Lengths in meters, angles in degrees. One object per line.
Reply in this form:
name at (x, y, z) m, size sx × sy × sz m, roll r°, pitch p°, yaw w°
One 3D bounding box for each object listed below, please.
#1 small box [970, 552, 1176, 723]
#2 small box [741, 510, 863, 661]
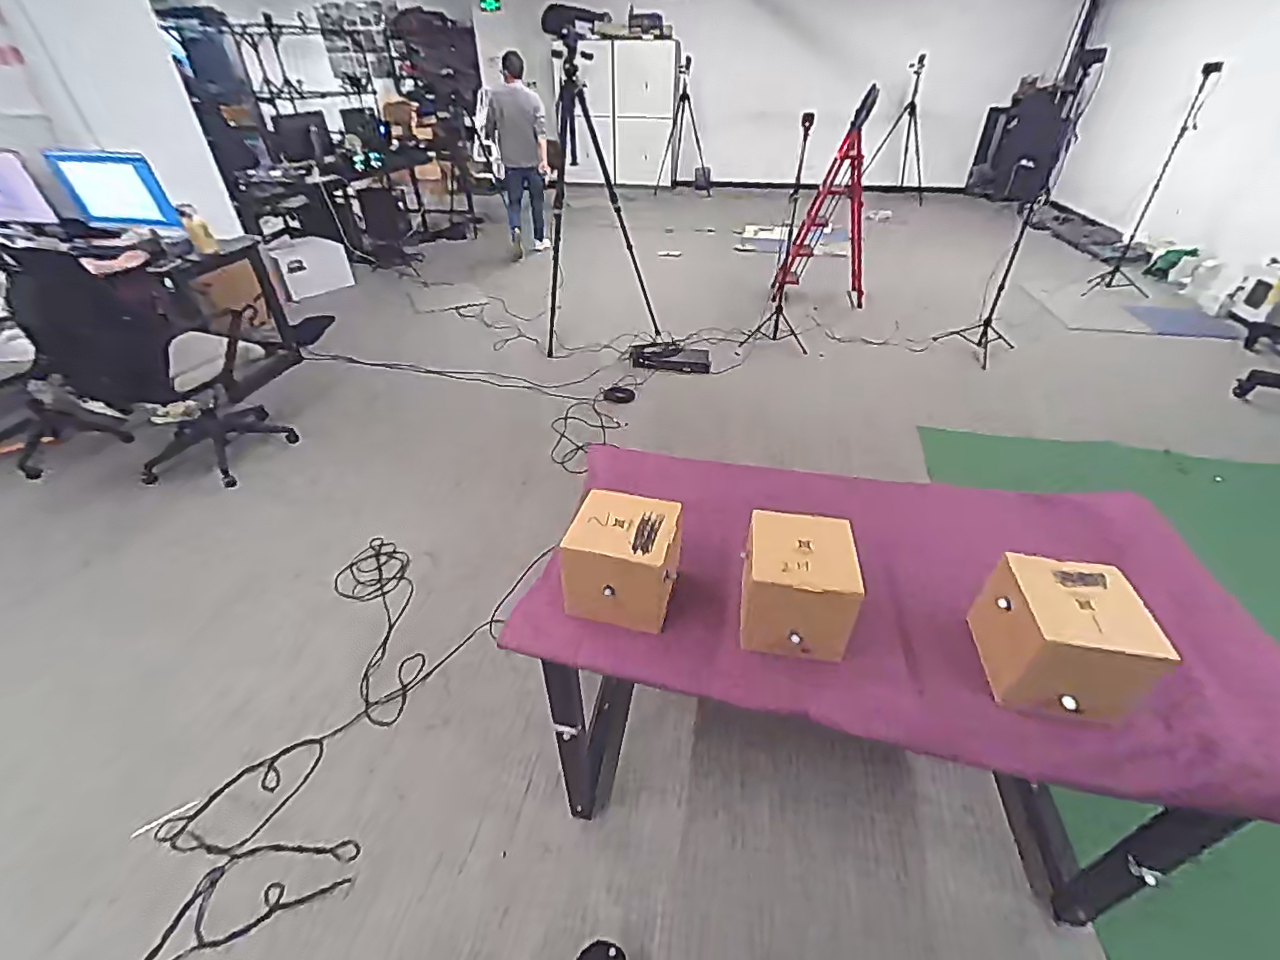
small box at (0.645, 0.241, 0.839) m, size 0.168 × 0.176 × 0.179 m, roll 7°, pitch 38°, yaw 9°
small box at (0.264, 0.177, 0.923) m, size 0.168 × 0.176 × 0.179 m, roll 5°, pitch 36°, yaw 8°
